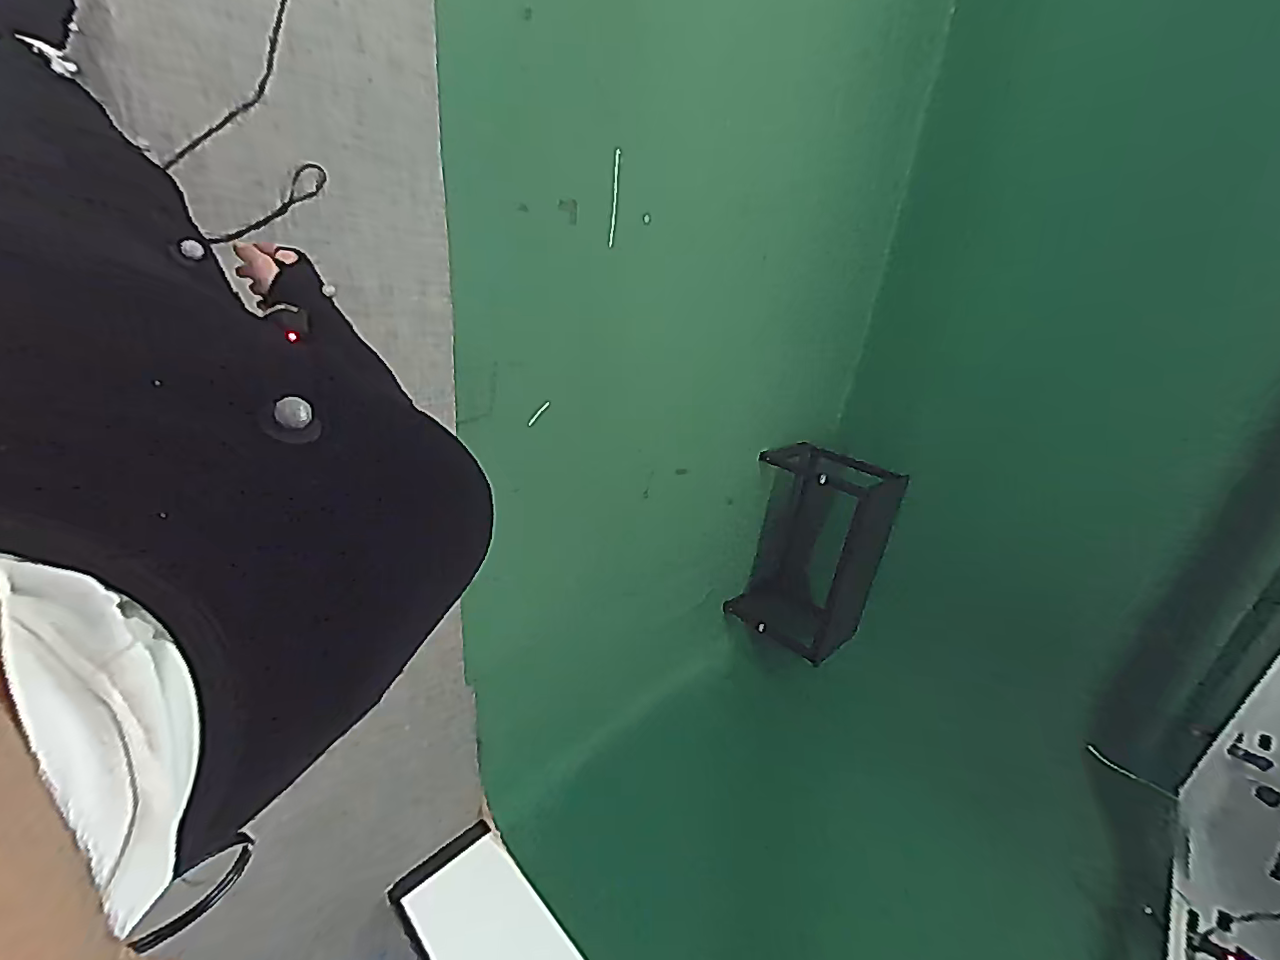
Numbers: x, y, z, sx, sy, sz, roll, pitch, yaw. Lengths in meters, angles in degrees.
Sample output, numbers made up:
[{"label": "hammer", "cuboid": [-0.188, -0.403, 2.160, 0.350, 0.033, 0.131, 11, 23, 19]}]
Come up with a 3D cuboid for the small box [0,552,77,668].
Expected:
[{"label": "small box", "cuboid": [-1.330, 0.273, 1.130, 0.179, 0.176, 0.168, -17, 123, -44]}]

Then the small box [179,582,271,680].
[{"label": "small box", "cuboid": [-1.113, 0.396, 1.449, 0.179, 0.176, 0.168, -8, 117, -47]}]

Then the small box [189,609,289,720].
[{"label": "small box", "cuboid": [-0.996, 0.449, 1.343, 0.179, 0.176, 0.168, -9, 117, -47]}]
